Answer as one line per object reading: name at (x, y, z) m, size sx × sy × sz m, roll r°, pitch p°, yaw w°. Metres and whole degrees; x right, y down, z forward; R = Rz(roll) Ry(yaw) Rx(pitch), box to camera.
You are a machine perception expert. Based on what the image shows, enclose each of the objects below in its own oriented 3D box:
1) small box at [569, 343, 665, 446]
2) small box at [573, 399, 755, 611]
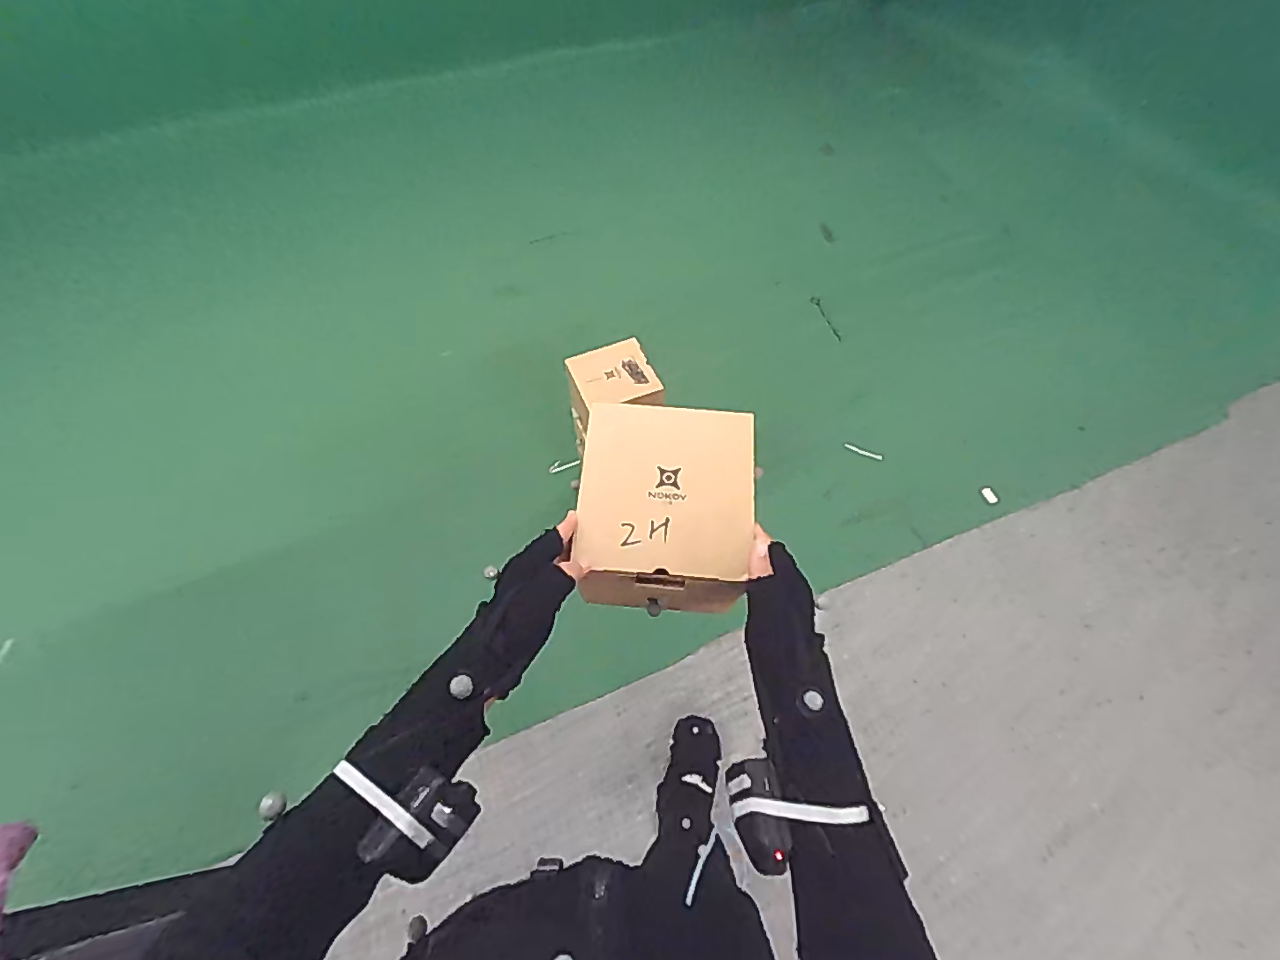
small box at (-0.055, -0.186, 1.263) m, size 0.179 × 0.176 × 0.168 m, roll -18°, pitch 60°, yaw -11°
small box at (0.027, 0.034, 0.586) m, size 0.168 × 0.176 × 0.179 m, roll 4°, pitch 67°, yaw 2°
